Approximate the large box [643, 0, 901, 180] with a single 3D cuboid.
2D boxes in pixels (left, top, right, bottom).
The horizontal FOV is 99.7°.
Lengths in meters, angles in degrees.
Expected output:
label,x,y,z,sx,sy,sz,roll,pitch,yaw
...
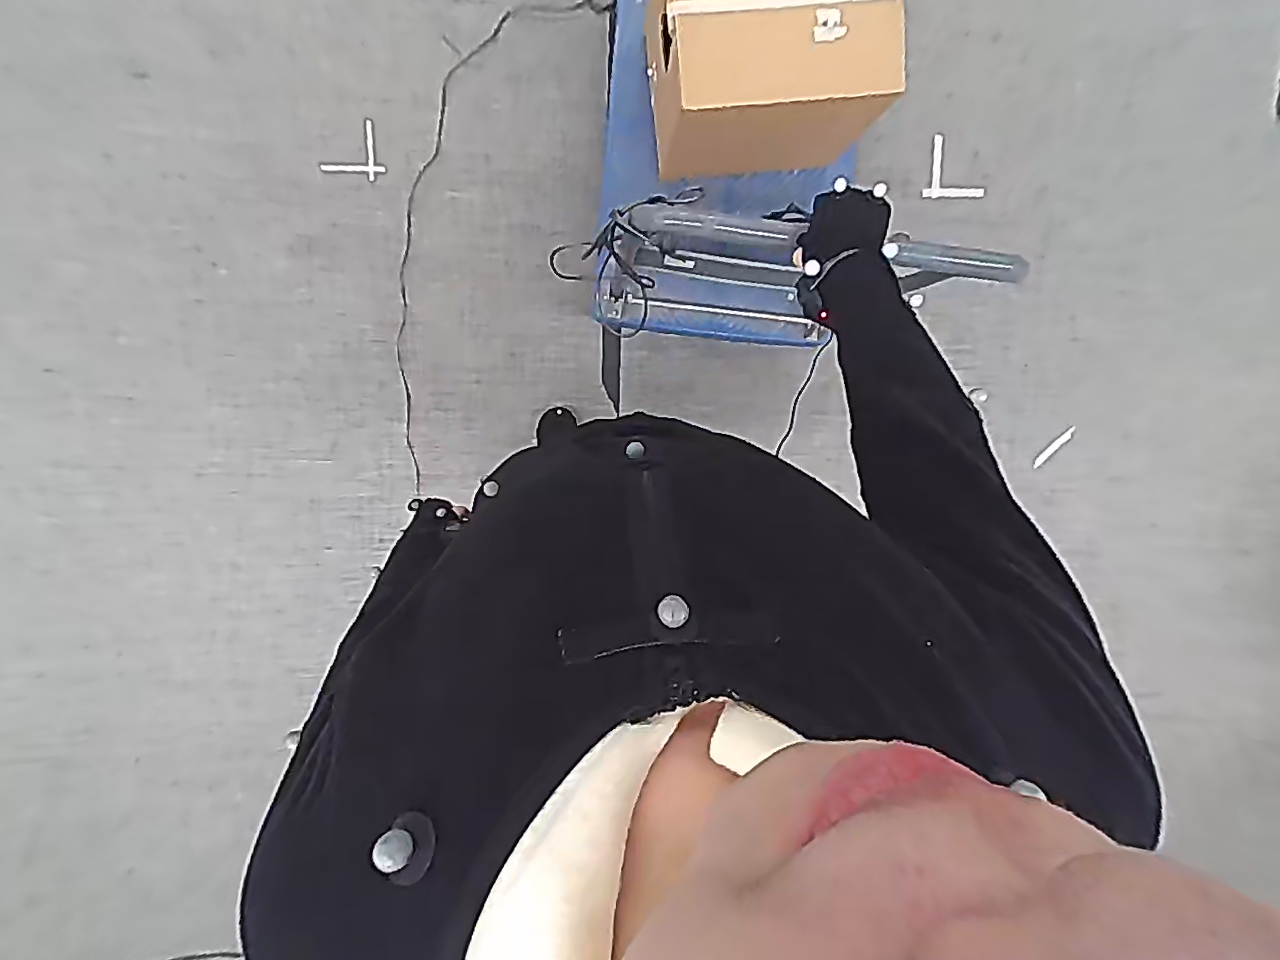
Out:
label,x,y,z,sx,sy,sz,roll,pitch,yaw
large box,0.234,-0.831,1.067,0.408,0.320,0.320,-7,99,-5
